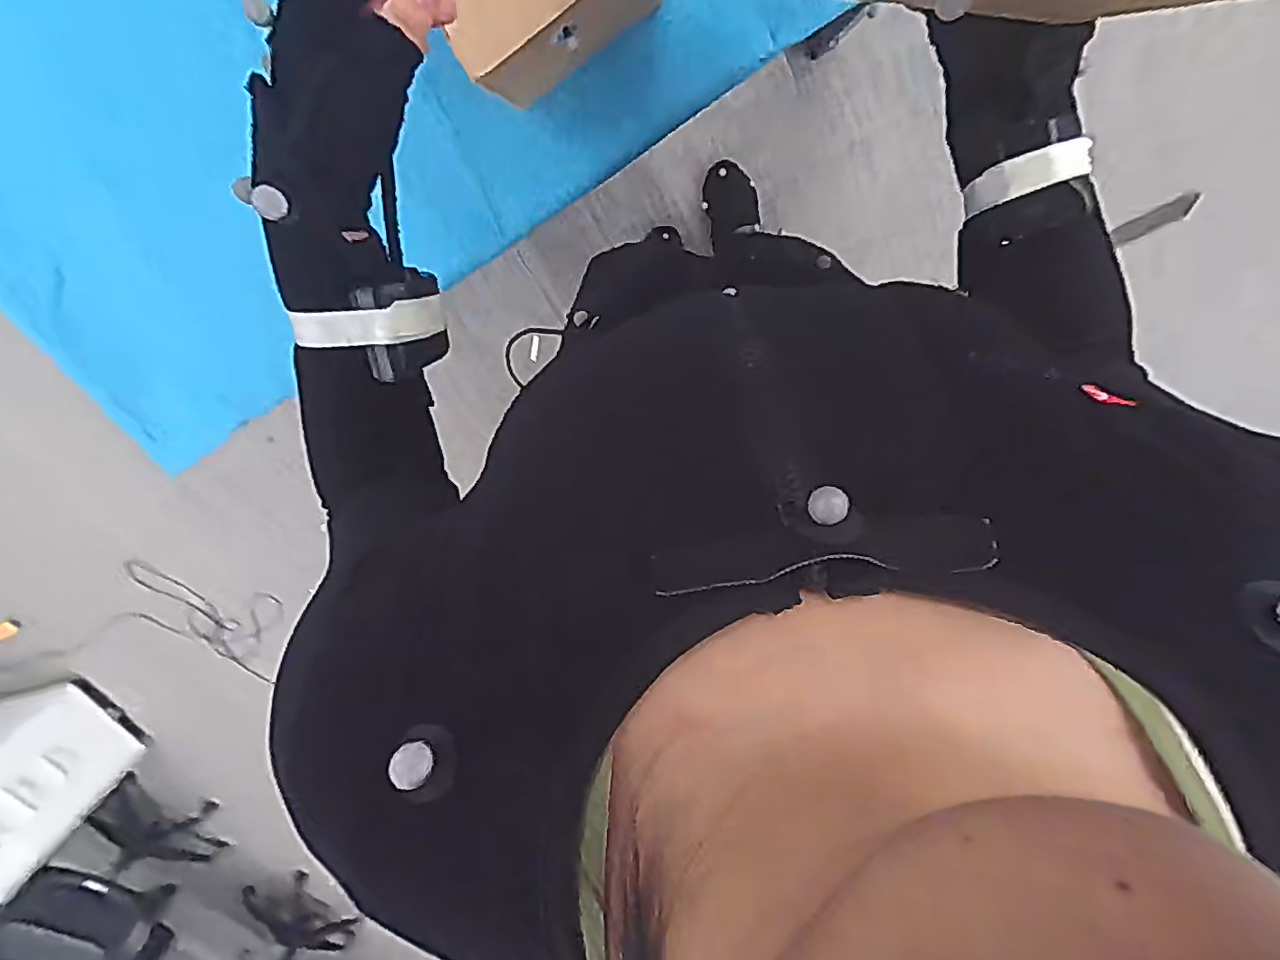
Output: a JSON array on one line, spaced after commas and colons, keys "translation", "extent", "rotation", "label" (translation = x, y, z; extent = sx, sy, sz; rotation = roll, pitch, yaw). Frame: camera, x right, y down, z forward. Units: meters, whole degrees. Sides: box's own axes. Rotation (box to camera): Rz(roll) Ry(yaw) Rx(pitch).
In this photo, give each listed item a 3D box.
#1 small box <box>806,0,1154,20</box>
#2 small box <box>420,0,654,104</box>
[{"translation": [0.166, -0.291, 0.204], "extent": [0.179, 0.176, 0.168], "rotation": [5, 127, 1], "label": "small box"}, {"translation": [-0.096, -0.454, 0.452], "extent": [0.179, 0.176, 0.168], "rotation": [-26, 114, 17], "label": "small box"}]
